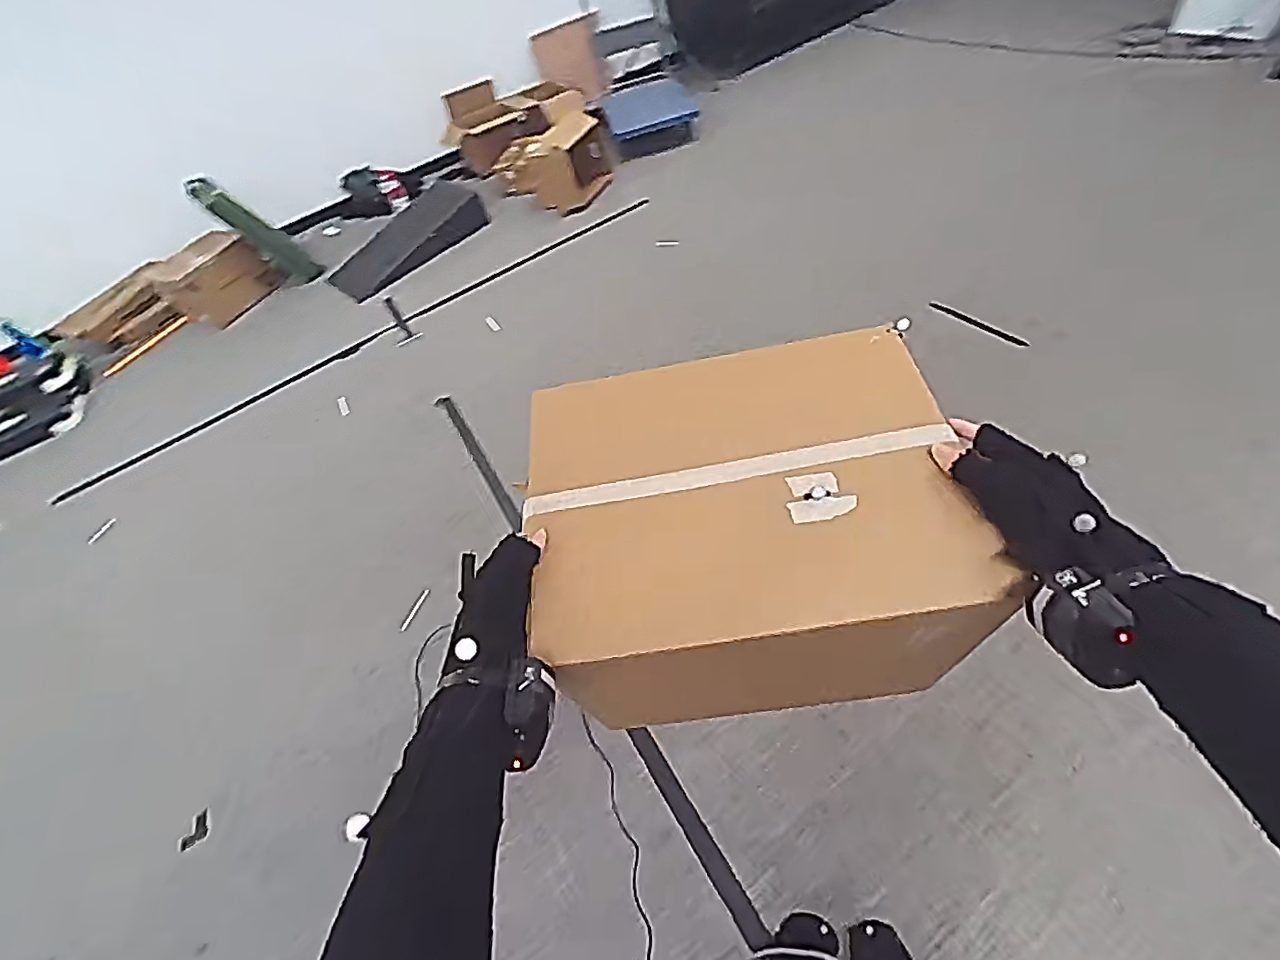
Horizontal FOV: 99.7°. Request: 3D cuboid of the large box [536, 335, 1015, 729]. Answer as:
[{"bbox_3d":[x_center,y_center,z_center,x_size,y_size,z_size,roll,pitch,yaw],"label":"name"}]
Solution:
[{"bbox_3d":[0.113,0.080,0.650,0.408,0.320,0.320,-10,56,4],"label":"large box"}]
